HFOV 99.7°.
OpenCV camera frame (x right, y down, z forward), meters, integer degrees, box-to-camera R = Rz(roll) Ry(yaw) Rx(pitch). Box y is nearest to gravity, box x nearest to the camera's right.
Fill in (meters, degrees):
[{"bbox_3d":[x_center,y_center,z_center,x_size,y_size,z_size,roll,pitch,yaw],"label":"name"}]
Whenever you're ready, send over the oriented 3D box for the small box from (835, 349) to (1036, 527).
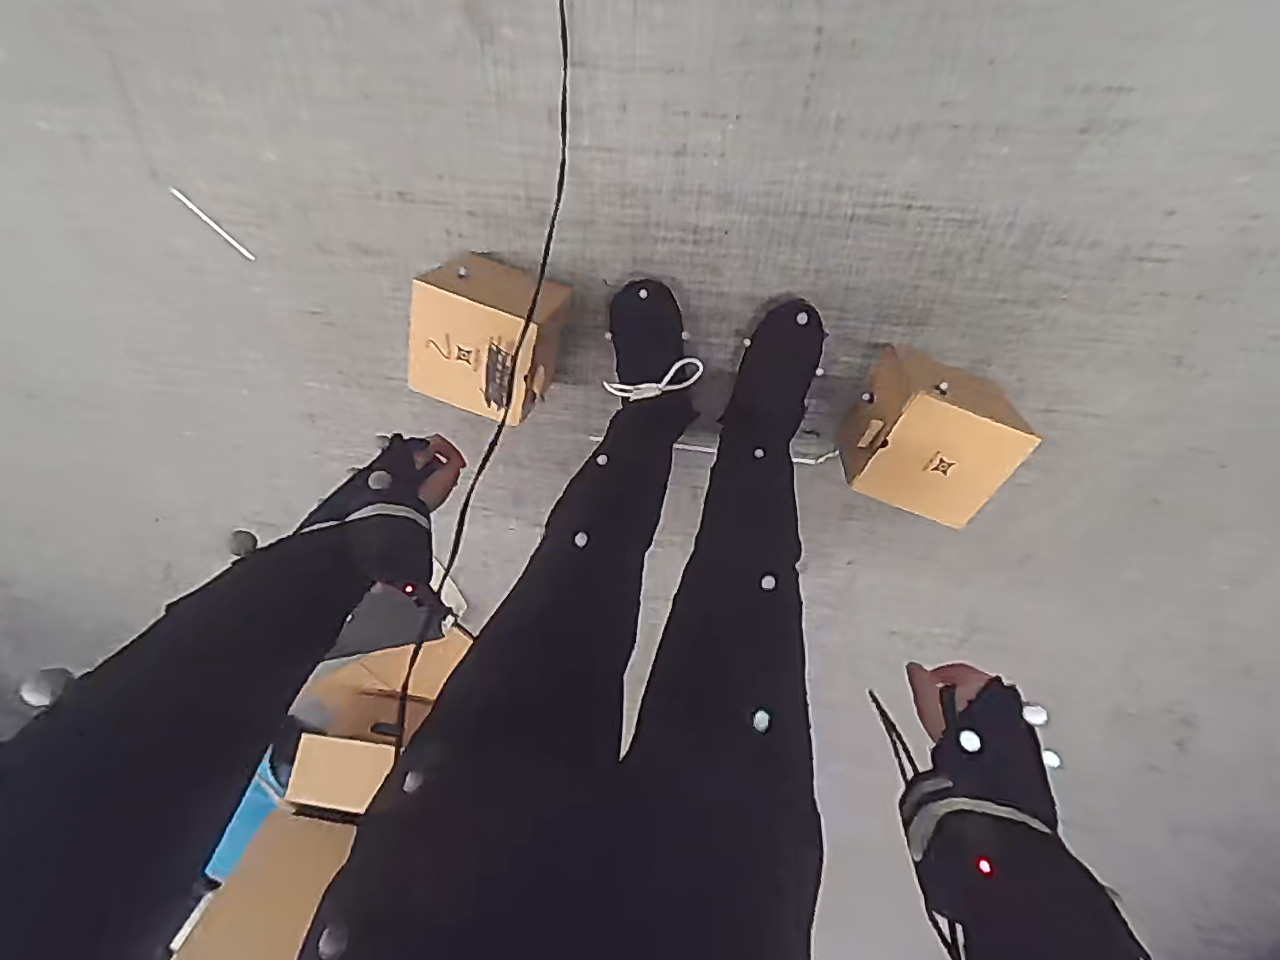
[{"bbox_3d":[0.407,-0.067,0.783,0.179,0.176,0.168,20,127,-2],"label":"small box"}]
